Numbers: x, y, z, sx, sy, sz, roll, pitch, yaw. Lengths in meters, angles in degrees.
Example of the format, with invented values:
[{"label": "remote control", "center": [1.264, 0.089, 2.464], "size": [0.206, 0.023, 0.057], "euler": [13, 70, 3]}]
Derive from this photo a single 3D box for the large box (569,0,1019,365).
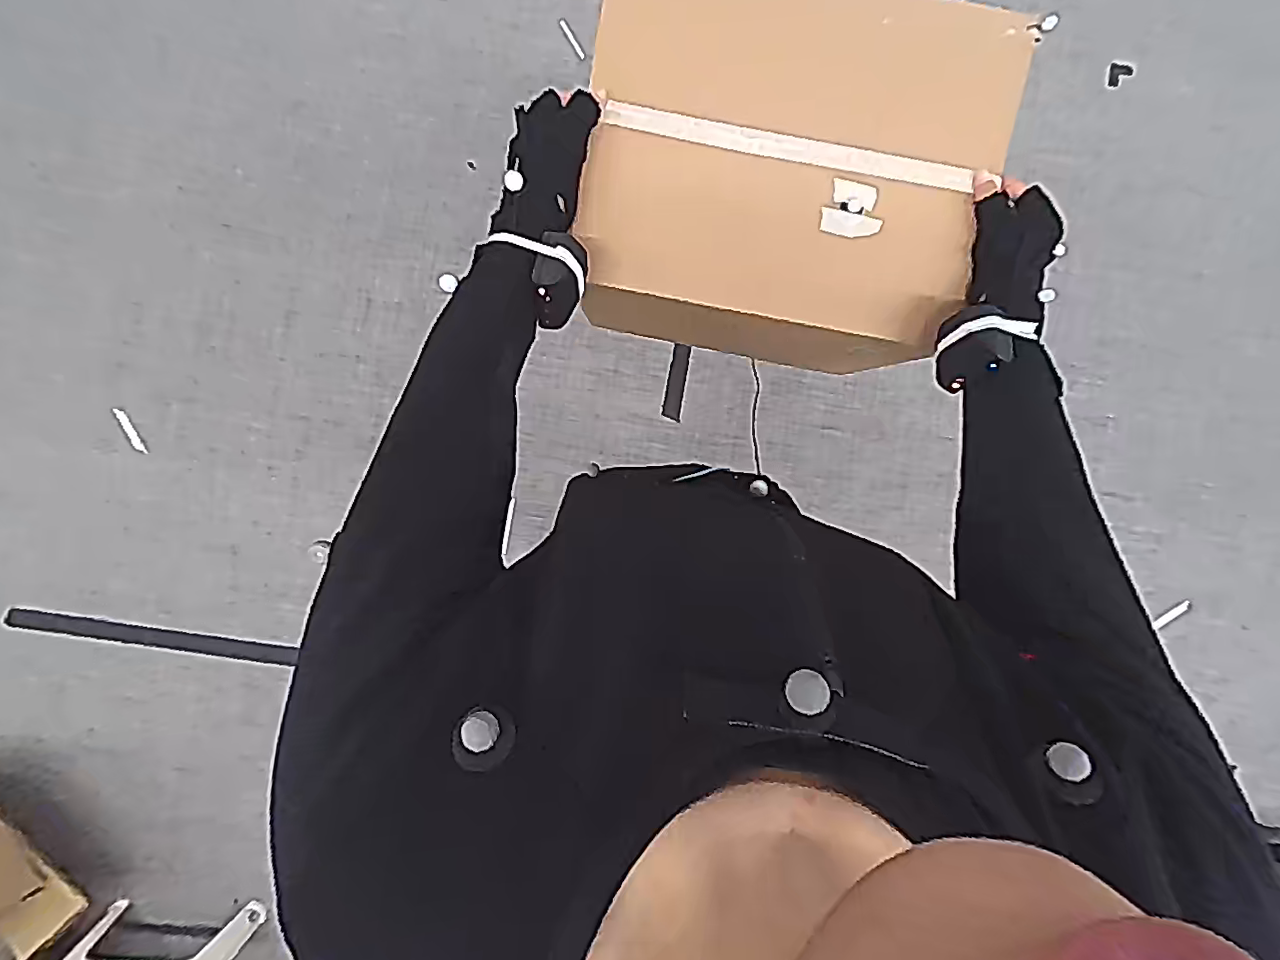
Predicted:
[{"label": "large box", "center": [0.143, -0.342, 0.679], "size": [0.408, 0.320, 0.320], "euler": [10, 98, -2]}]
